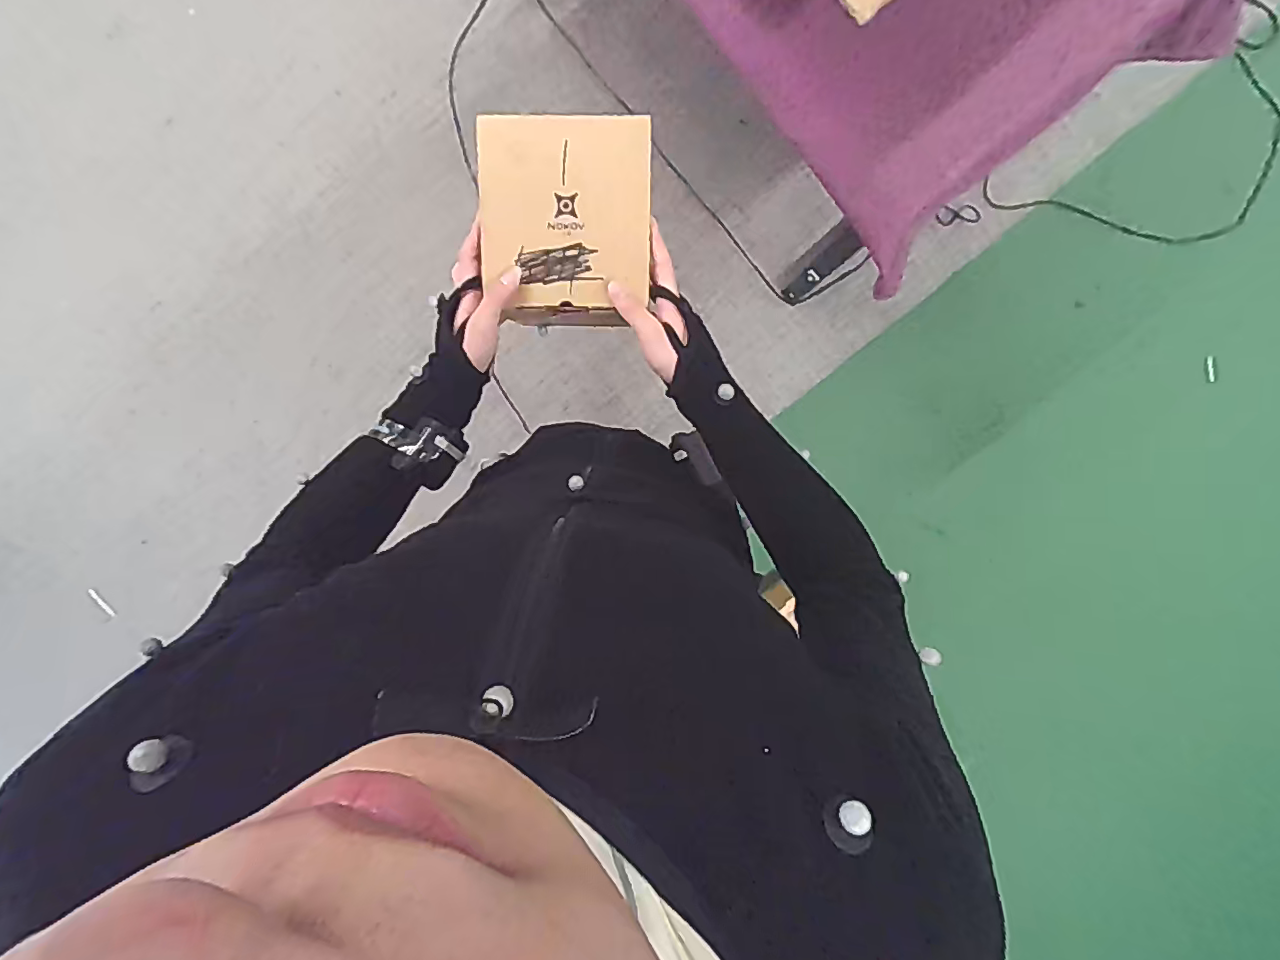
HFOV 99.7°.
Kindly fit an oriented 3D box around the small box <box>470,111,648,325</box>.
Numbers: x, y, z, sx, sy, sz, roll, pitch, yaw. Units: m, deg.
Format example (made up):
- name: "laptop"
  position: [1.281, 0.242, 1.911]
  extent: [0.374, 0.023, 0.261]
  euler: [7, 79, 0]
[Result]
- name: "small box"
  position: [-0.075, -0.266, 0.589]
  extent: [0.168, 0.176, 0.179]
  euler: [0, 100, 0]
